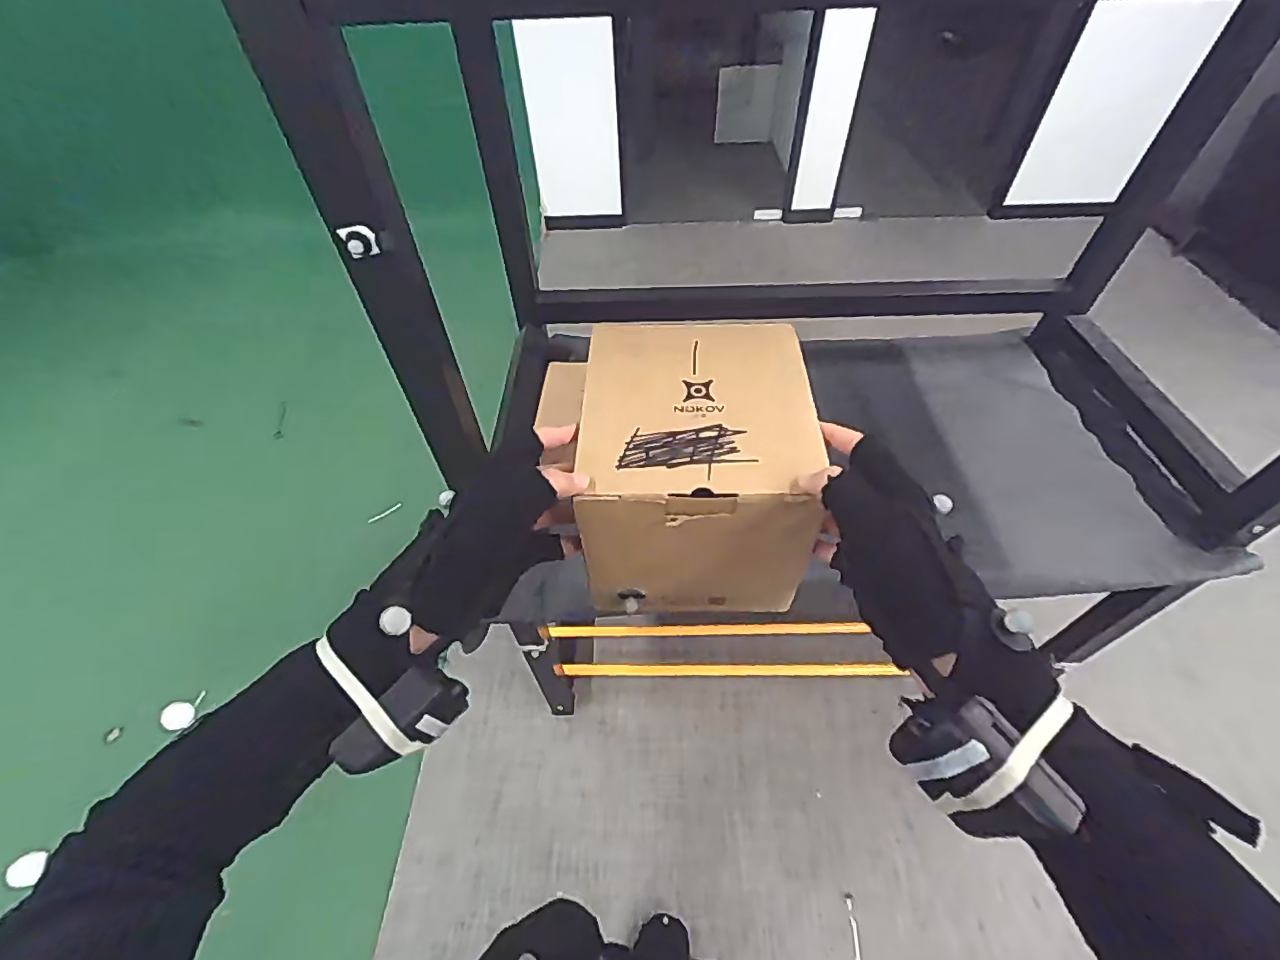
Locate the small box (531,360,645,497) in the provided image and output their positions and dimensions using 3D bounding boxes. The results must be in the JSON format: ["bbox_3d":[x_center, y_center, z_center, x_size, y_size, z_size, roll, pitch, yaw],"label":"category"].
[{"bbox_3d":[-0.078,-0.086,0.925,0.168,0.176,0.179,2,50,2],"label":"small box"}]
